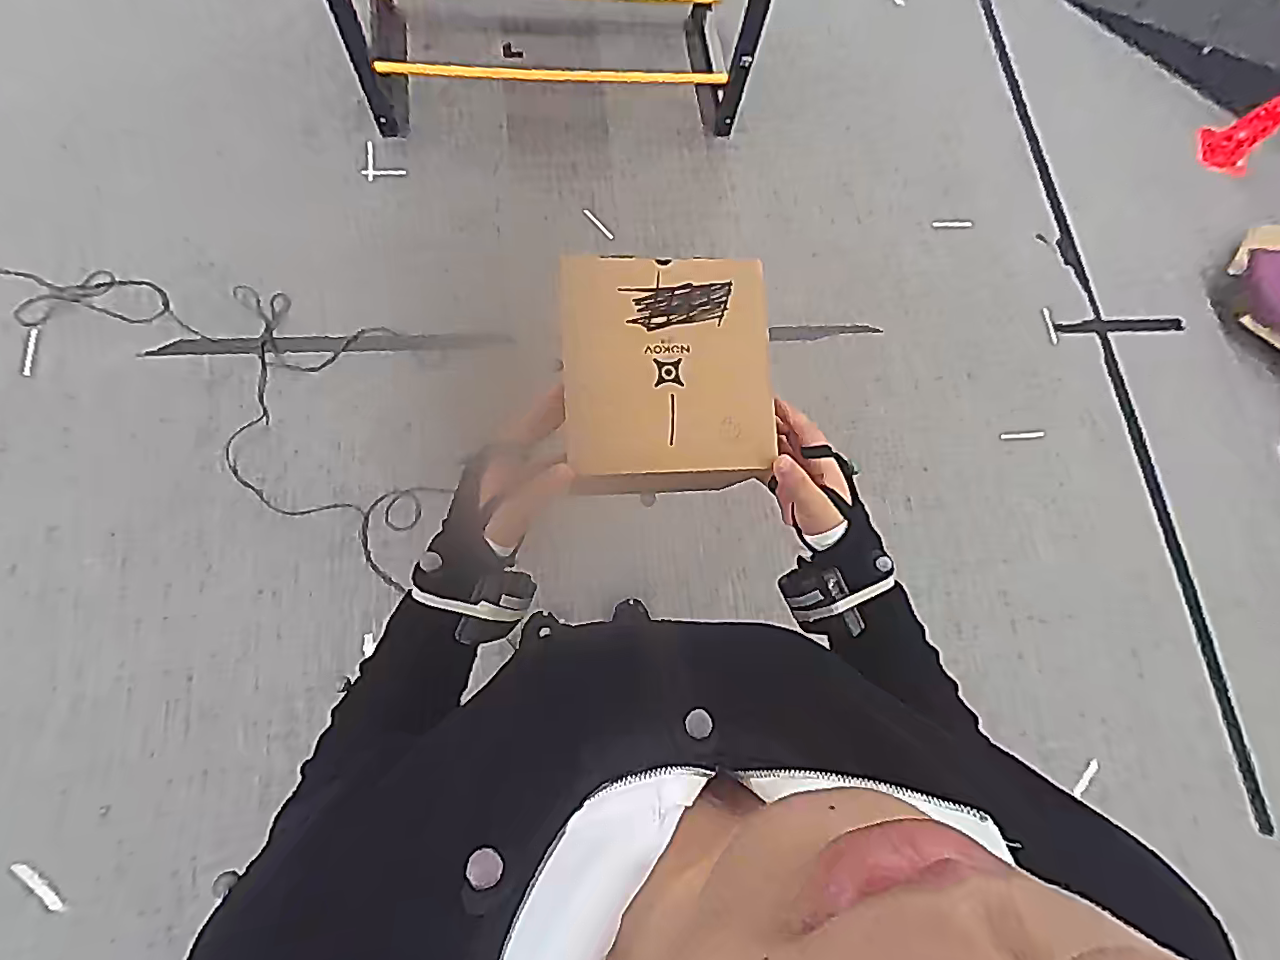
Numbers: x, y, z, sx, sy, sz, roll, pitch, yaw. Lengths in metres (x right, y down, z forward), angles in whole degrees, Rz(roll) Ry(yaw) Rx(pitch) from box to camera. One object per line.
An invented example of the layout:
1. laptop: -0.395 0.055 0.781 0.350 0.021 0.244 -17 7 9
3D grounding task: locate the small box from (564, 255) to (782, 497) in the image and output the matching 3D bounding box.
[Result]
1. small box: 0.016 -0.082 0.497 0.168 0.176 0.179 -3 84 -6
